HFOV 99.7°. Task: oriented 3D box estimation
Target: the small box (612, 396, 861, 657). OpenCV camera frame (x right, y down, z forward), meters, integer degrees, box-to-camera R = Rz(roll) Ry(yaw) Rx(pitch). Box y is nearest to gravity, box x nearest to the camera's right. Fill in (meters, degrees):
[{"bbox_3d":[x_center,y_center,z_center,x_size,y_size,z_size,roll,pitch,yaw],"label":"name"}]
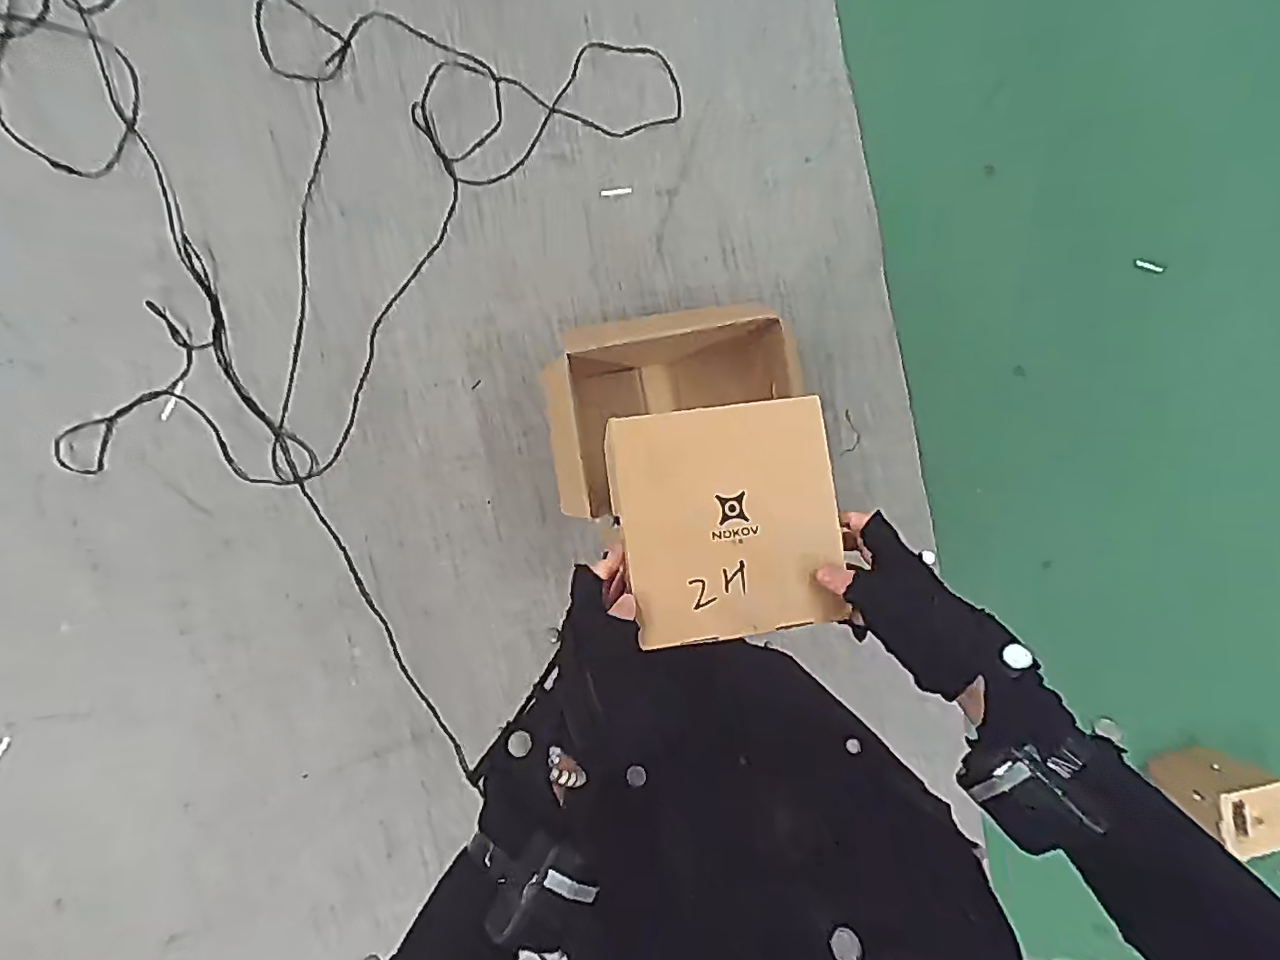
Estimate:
[{"bbox_3d":[0.067,0.036,0.475,0.168,0.176,0.179,-8,89,-4],"label":"small box"}]
